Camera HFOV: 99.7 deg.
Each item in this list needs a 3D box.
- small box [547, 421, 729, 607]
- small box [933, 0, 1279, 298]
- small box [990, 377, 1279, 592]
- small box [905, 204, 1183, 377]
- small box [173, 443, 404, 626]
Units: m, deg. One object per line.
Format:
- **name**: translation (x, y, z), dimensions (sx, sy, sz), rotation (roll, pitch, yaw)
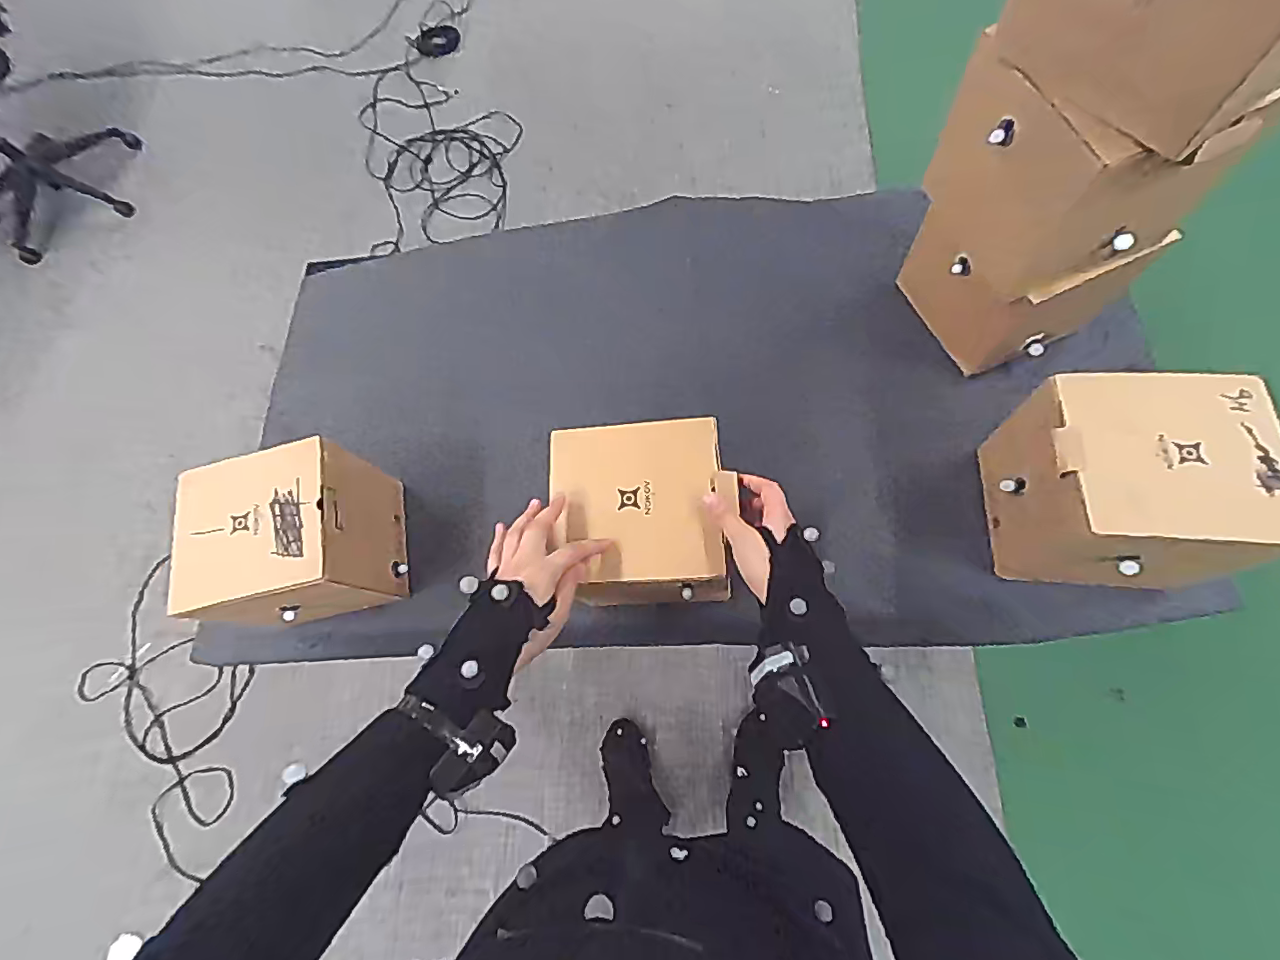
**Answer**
- **small box**: translation (0.007, 0.049, 0.609), dimensions (0.179, 0.176, 0.168), rotation (-4, 70, 7)
- **small box**: translation (0.407, -0.307, 0.497), dimensions (0.168, 0.176, 0.179), rotation (-21, 70, 4)
- **small box**: translation (0.483, 0.012, 0.546), dimensions (0.179, 0.176, 0.168), rotation (2, 67, 10)
- **small box**: translation (0.454, -0.257, 0.648), dimensions (0.168, 0.176, 0.179), rotation (-25, 71, 2)
- **small box**: translation (-0.405, 0.076, 0.656), dimensions (0.179, 0.176, 0.168), rotation (-14, 70, 4)
